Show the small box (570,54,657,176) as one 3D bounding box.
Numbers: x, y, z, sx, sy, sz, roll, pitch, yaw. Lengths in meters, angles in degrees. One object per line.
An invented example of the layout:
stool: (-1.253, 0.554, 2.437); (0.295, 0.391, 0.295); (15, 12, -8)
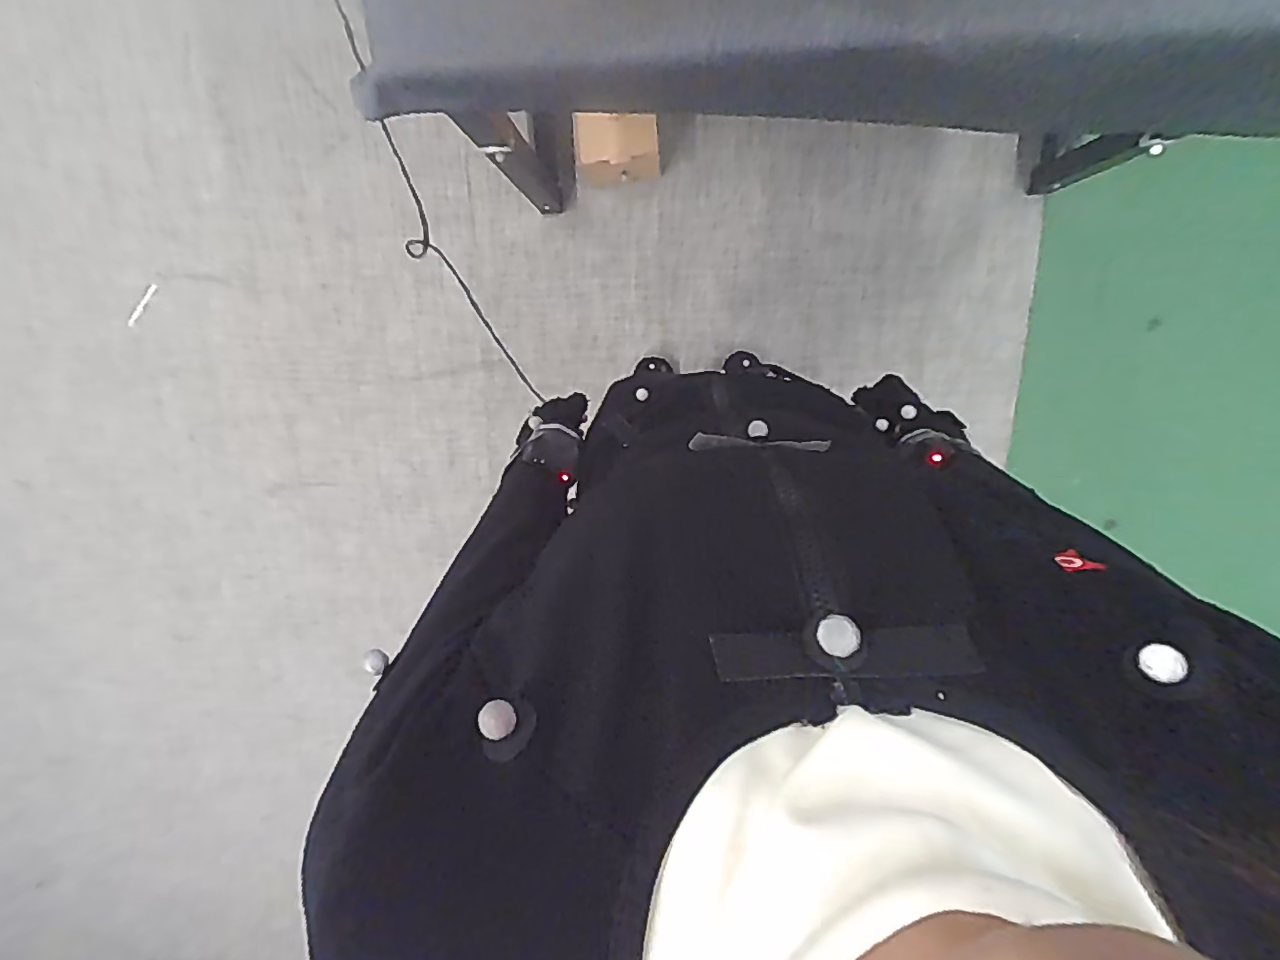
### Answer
small box: (-0.051, -0.781, 1.179); (0.168, 0.176, 0.179); (-5, 104, 3)
